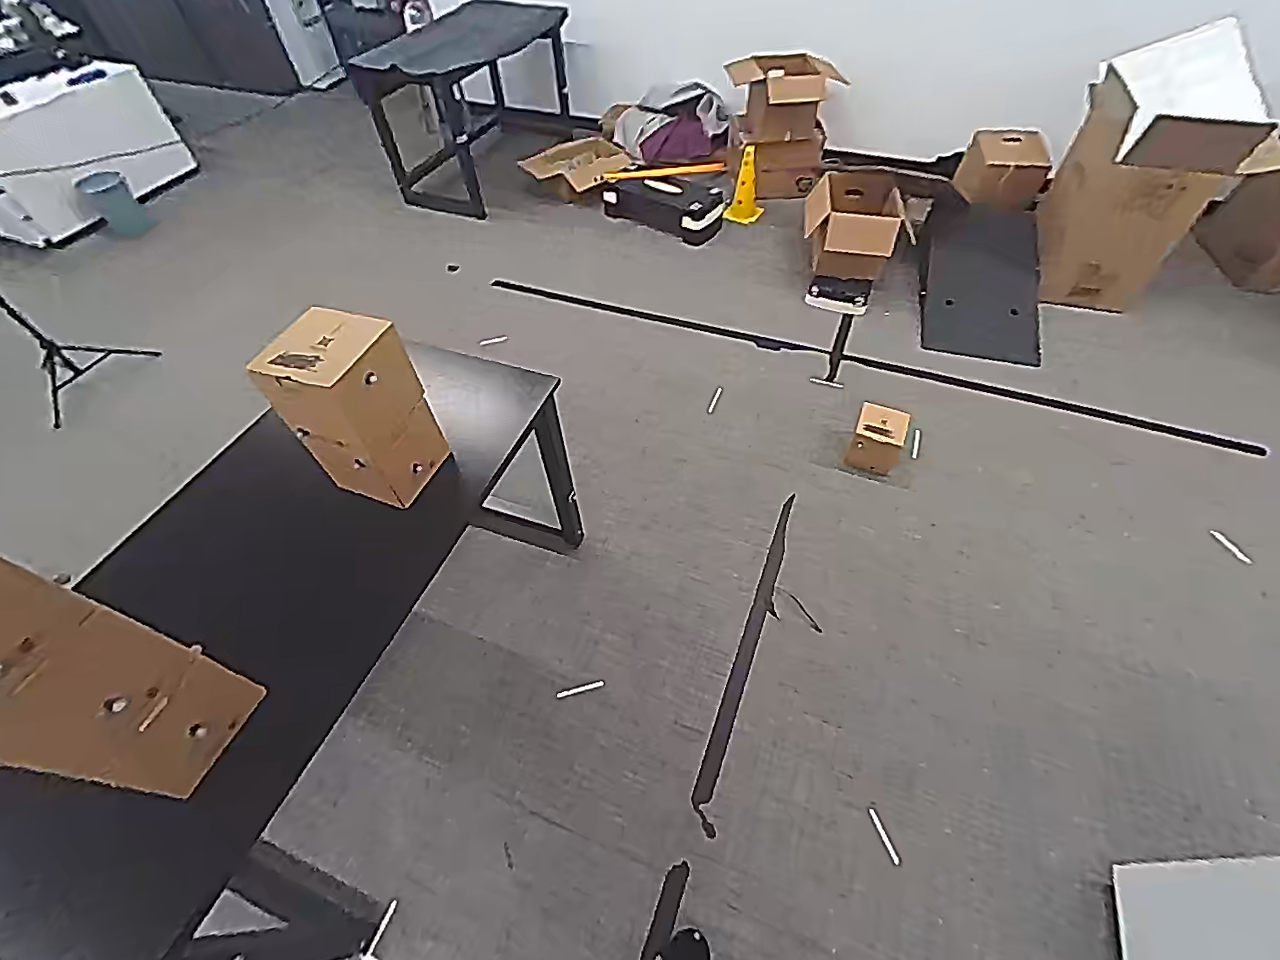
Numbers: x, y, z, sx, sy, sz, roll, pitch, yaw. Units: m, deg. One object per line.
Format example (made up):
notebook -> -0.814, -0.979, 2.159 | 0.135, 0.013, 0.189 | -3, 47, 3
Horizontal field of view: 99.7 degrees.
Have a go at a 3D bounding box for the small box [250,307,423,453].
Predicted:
small box -> -0.513, -0.171, 0.948 | 0.168, 0.176, 0.179 | 14, 54, 12

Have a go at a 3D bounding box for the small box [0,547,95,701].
small box -> -0.715, 0.127, 0.520 | 0.179, 0.176, 0.168 | 16, 56, 13

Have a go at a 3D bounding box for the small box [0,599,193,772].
small box -> -0.712, 0.226, 0.649 | 0.179, 0.176, 0.168 | 16, 55, 13

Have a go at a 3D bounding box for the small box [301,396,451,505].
small box -> -0.515, -0.073, 1.080 | 0.179, 0.176, 0.168 | 17, 55, 14

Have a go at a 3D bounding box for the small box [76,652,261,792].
small box -> -0.706, 0.328, 0.779 | 0.179, 0.176, 0.168 | 16, 54, 13
